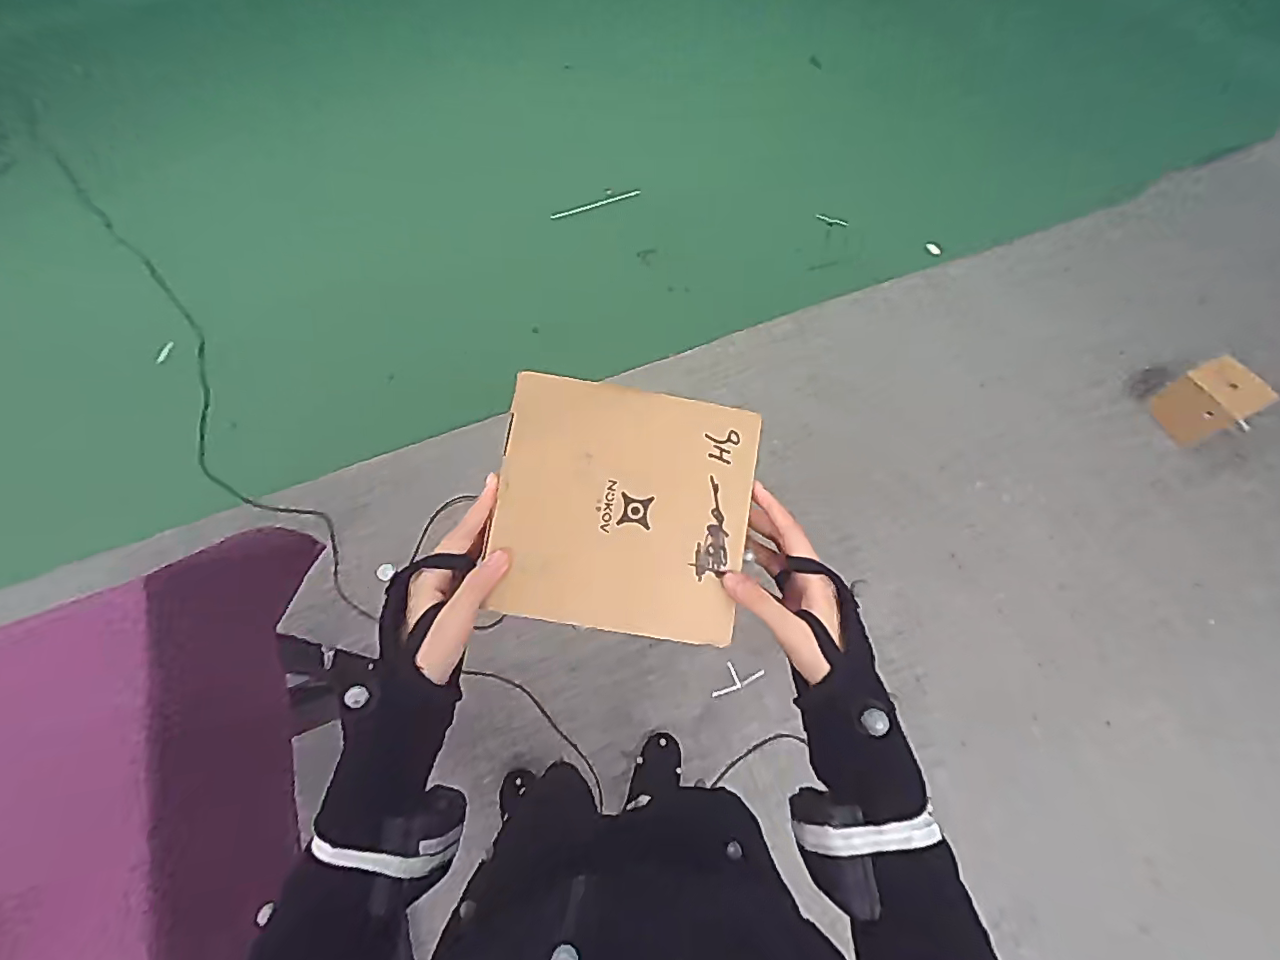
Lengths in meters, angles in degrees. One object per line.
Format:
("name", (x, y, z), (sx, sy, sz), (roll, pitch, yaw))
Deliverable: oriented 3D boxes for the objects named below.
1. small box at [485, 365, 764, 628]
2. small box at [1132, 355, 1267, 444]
("small box", (-0.012, 0.020, 0.464), (0.179, 0.176, 0.168), (11, 82, -2))
("small box", (1.634, -0.227, 1.591), (0.168, 0.176, 0.179), (-24, 65, -10))
